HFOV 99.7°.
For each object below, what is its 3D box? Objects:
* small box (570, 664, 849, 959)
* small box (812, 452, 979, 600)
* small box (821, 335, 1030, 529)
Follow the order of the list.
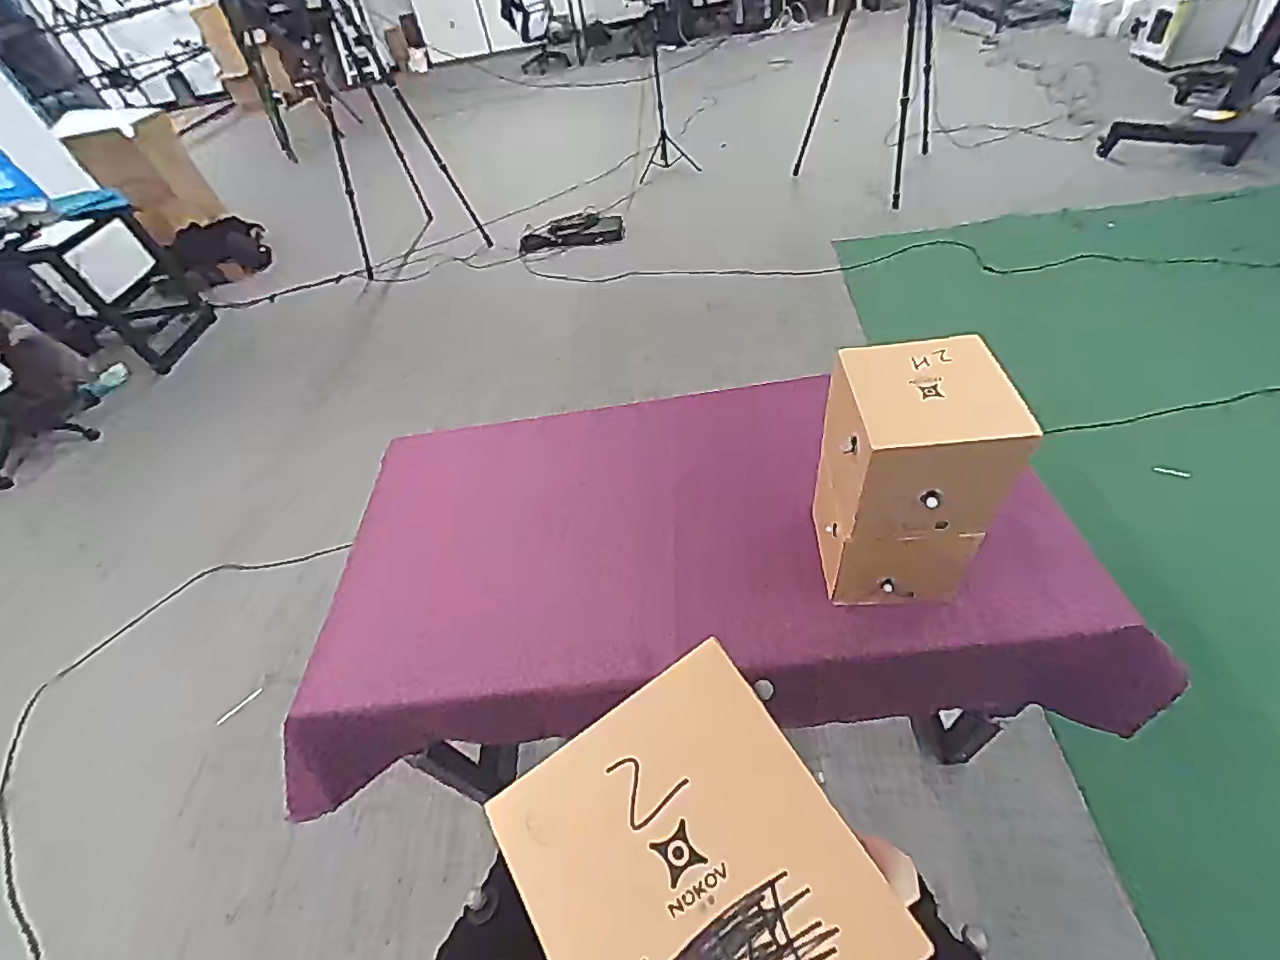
[{"bbox_3d":[0.066,0.298,0.511,0.179,0.176,0.168,-33,65,-2],"label":"small box"},{"bbox_3d":[0.353,0.058,0.790,0.168,0.176,0.179,-4,49,8],"label":"small box"},{"bbox_3d":[0.329,-0.051,0.668,0.168,0.176,0.179,-5,48,7],"label":"small box"}]
